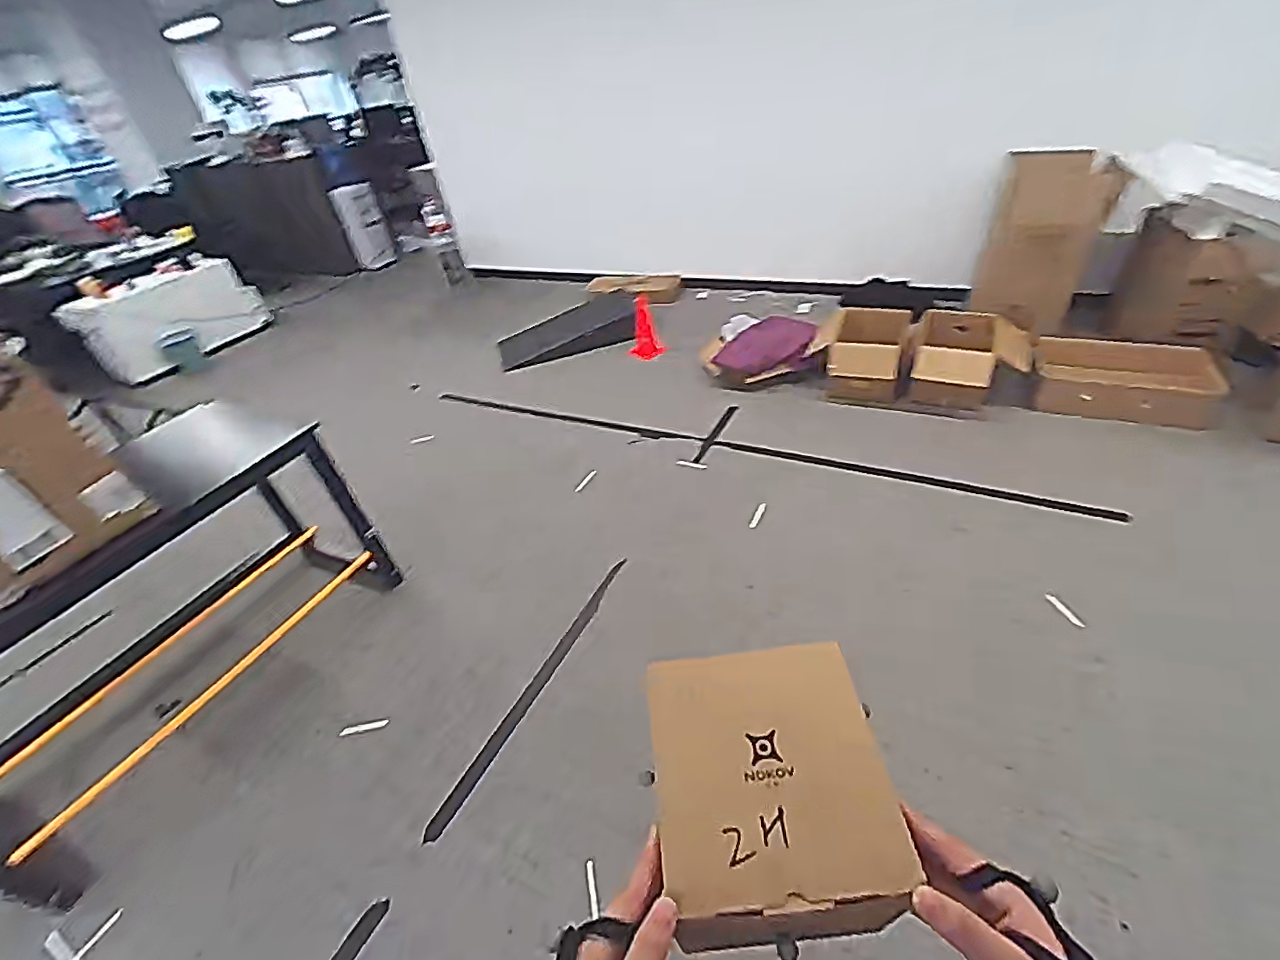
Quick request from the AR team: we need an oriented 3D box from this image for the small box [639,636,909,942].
[{"bbox_3d":[0.093,0.260,0.457,0.168,0.176,0.179,-8,44,2],"label":"small box"}]
